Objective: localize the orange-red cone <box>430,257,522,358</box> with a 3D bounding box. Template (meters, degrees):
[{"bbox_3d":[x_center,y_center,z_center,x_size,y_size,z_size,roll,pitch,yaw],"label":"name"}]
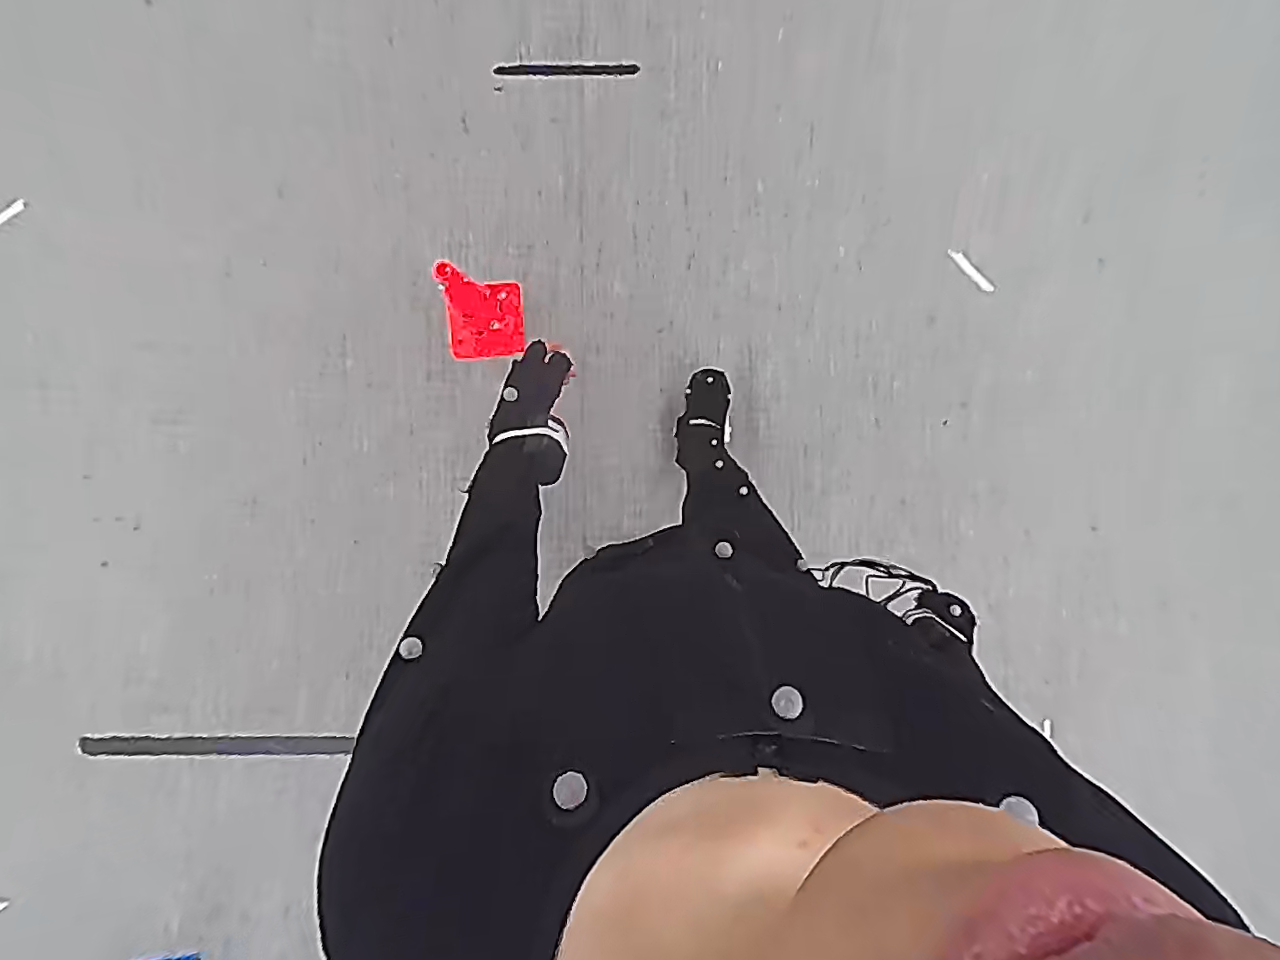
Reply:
[{"bbox_3d":[-0.414,-0.430,1.272,0.199,0.360,0.198,-4,89,0],"label":"orange-red cone"}]
